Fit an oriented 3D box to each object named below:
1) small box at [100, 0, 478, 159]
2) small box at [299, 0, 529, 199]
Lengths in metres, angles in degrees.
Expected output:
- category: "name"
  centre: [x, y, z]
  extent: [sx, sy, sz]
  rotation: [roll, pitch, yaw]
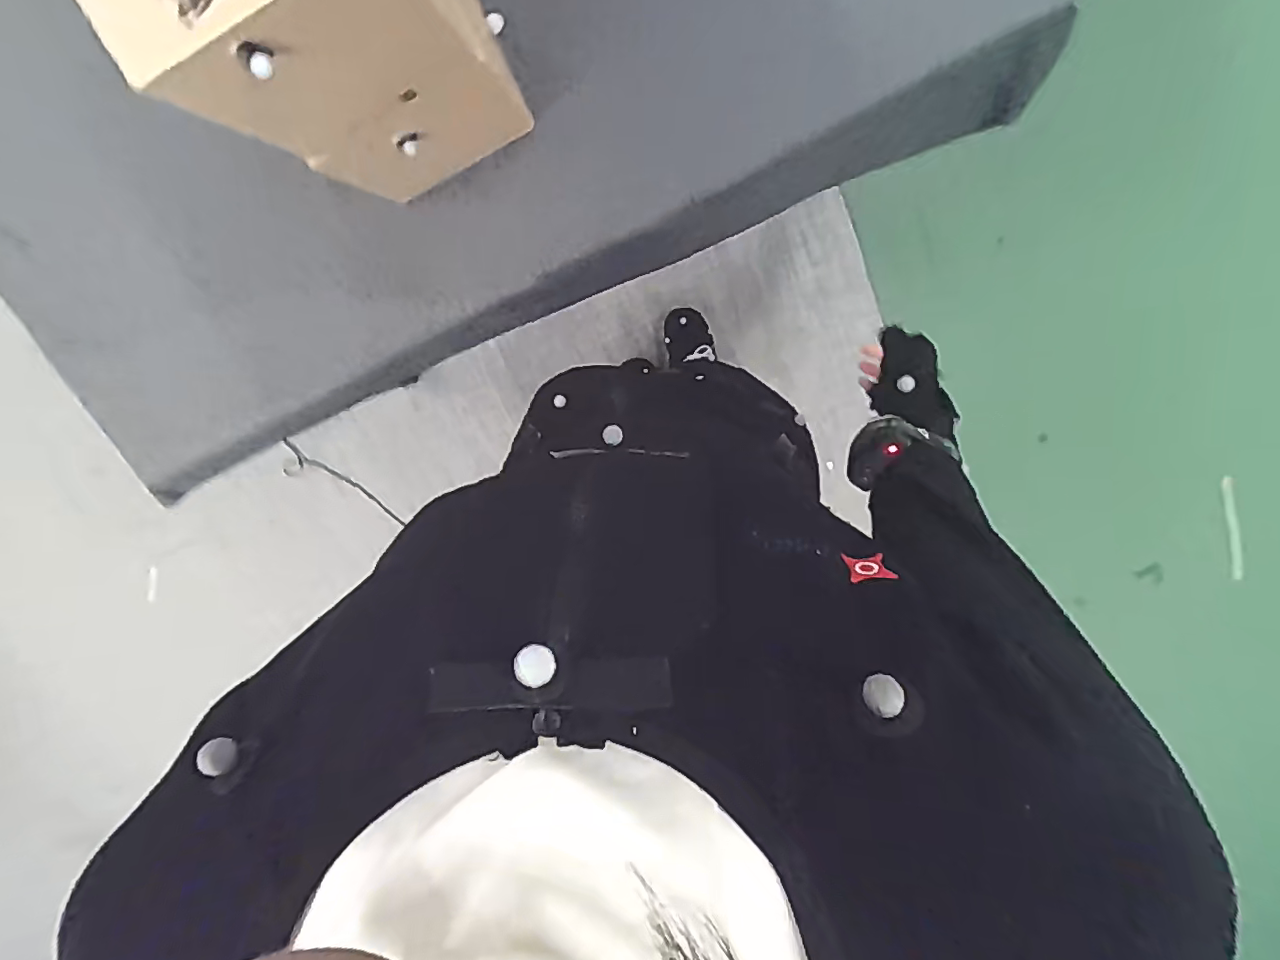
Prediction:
- category: "small box"
  centre: [-0.237, -0.353, 0.353]
  extent: [0.168, 0.176, 0.179]
  rotation: [-25, 105, 9]
- category: "small box"
  centre: [-0.232, -0.395, 0.509]
  extent: [0.179, 0.176, 0.168]
  rotation: [-23, 104, 10]
